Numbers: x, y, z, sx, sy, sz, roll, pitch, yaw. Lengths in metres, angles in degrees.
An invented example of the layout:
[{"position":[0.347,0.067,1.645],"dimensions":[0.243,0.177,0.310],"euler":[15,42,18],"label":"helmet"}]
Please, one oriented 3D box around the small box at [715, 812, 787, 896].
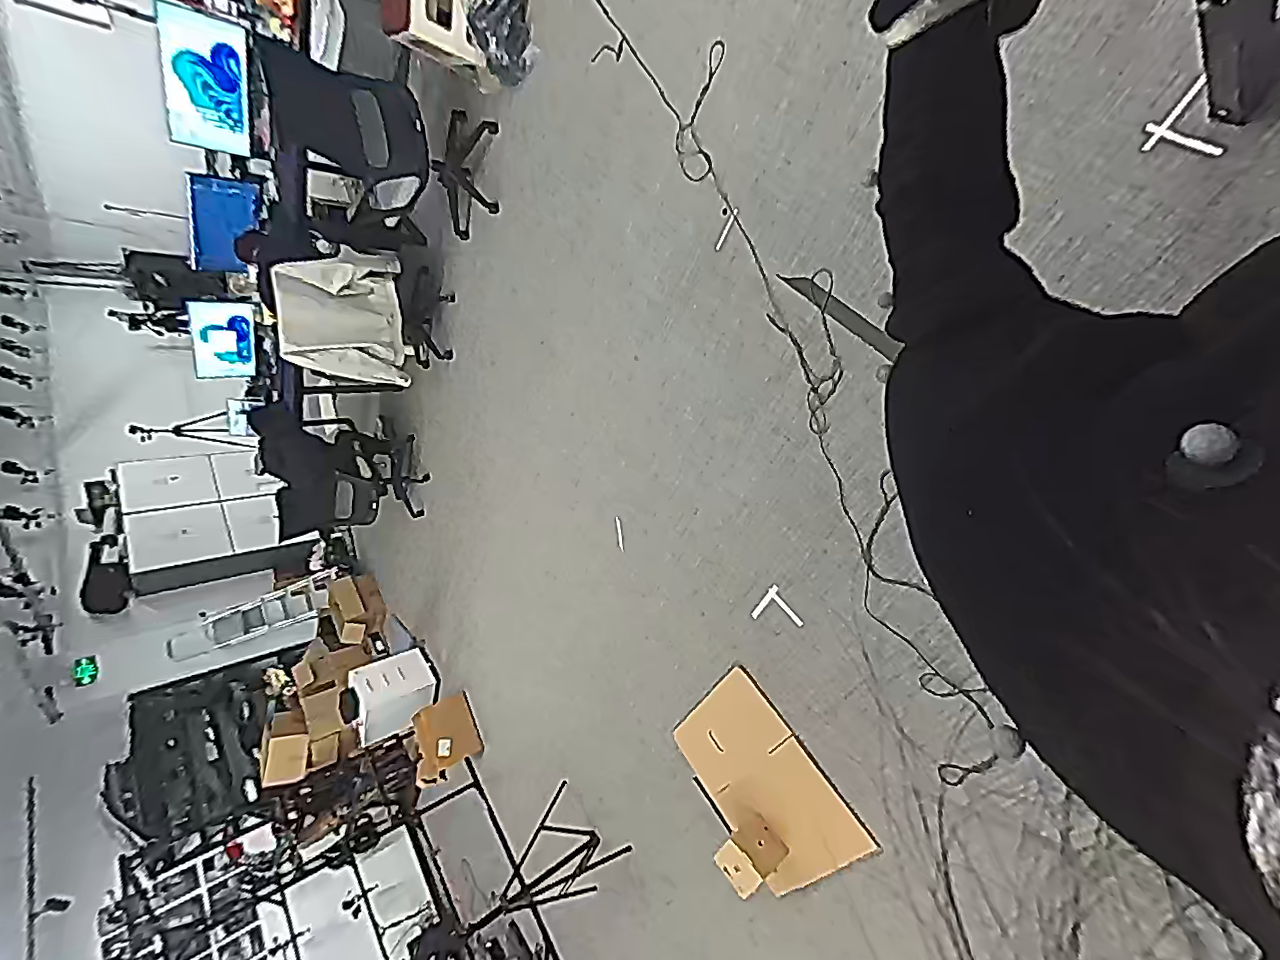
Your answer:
[{"position":[0.417,1.381,2.008],"dimensions":[0.168,0.176,0.179],"euler":[44,128,33],"label":"small box"}]
